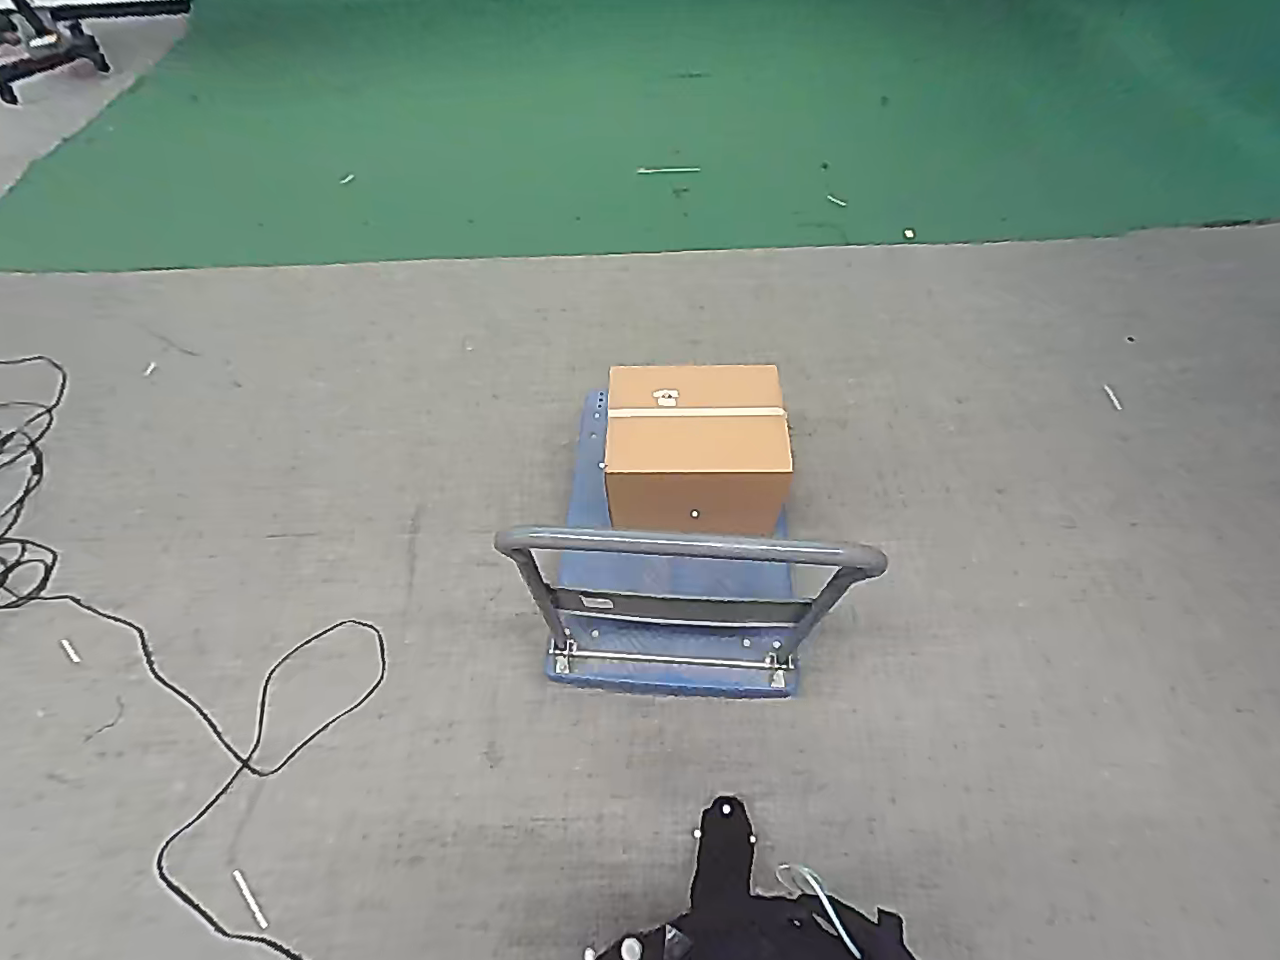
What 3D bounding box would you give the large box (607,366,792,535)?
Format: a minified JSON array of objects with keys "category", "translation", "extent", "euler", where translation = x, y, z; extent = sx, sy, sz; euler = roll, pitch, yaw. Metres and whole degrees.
[{"category":"large box","translation":[0.135,-0.065,1.366],"extent":[0.408,0.320,0.320],"euler":[0,57,2]}]
